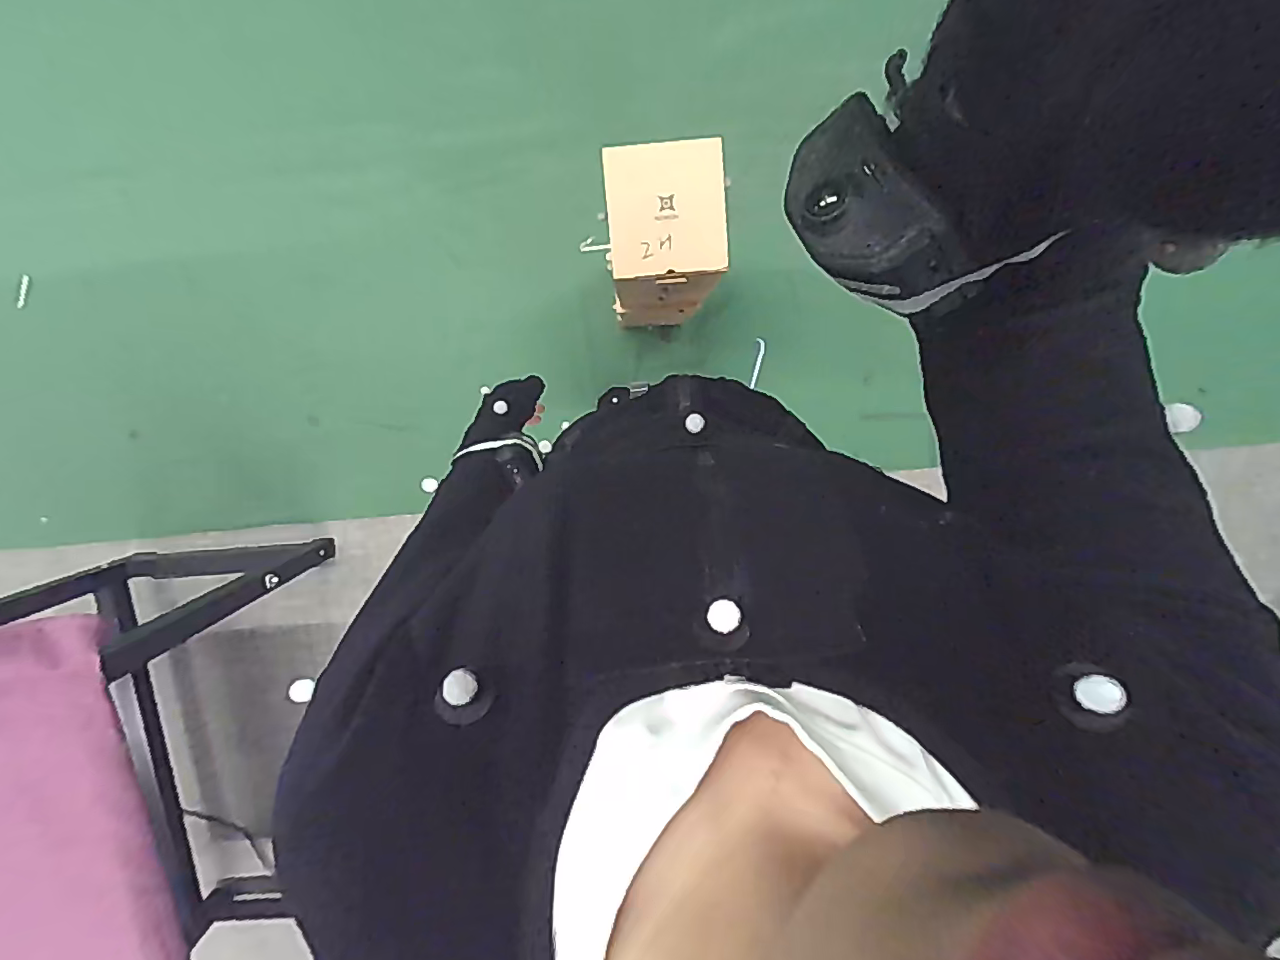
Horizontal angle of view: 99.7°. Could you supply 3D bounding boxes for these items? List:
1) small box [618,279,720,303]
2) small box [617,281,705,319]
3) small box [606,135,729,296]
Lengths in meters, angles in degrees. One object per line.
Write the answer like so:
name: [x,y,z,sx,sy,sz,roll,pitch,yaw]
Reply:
small box: [0.045,-0.422,0.984,0.179,0.176,0.168,-3,98,0]
small box: [0.041,-0.440,1.150,0.179,0.176,0.168,-5,100,1]
small box: [0.038,-0.390,0.824,0.168,0.176,0.179,-4,100,1]
